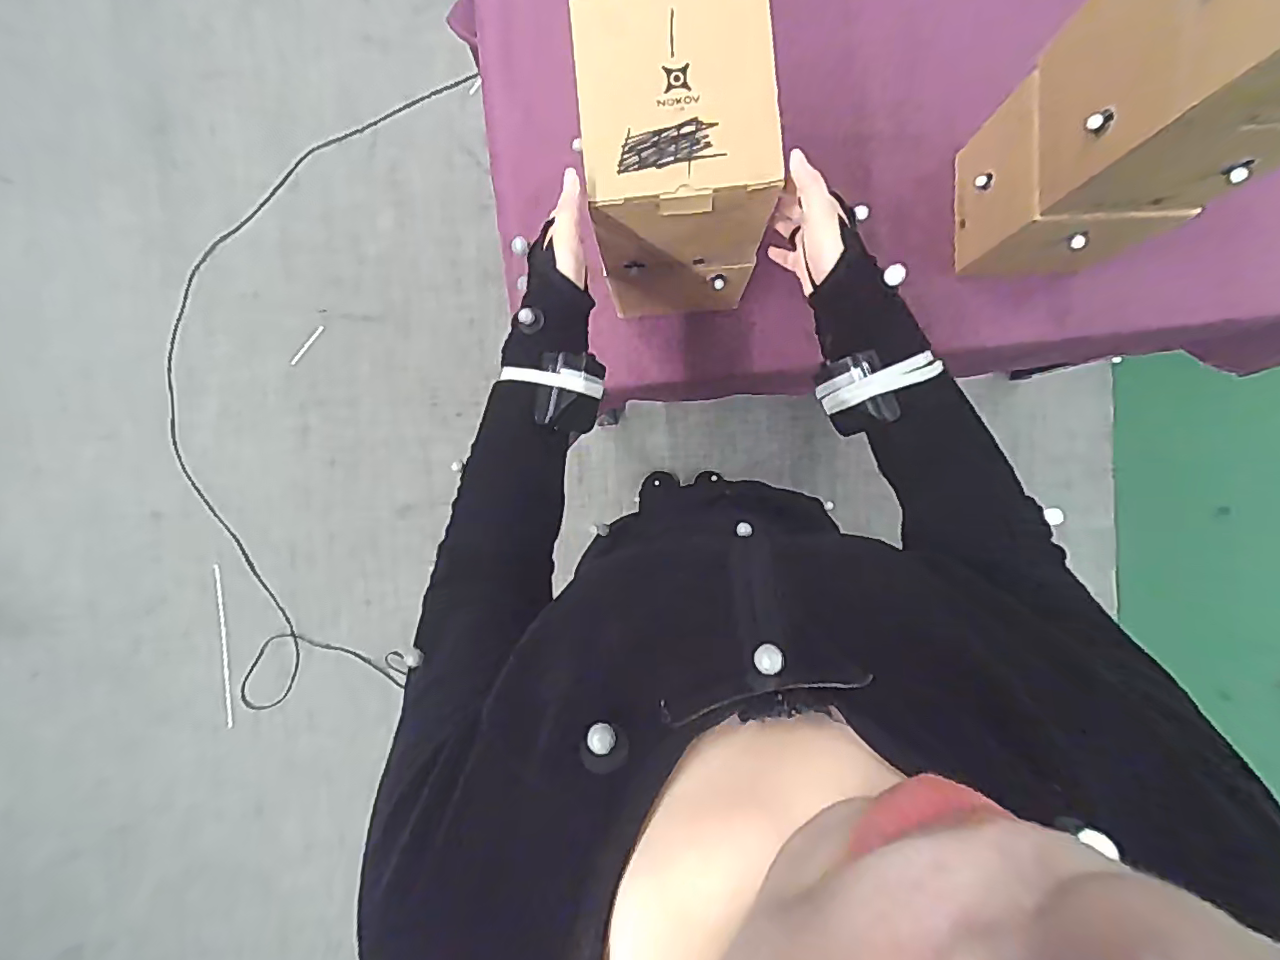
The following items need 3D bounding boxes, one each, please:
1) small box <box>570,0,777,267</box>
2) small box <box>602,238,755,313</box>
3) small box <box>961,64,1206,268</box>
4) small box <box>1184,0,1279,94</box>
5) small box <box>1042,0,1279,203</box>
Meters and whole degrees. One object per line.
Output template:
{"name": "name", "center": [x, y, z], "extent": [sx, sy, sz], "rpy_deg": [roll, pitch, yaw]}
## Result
{"name": "small box", "center": [0.033, -0.324, 0.529], "extent": [0.168, 0.176, 0.179], "rpy_deg": [-5, 89, 3]}
{"name": "small box", "center": [0.045, -0.323, 0.693], "extent": [0.179, 0.176, 0.168], "rpy_deg": [-4, 91, 3]}
{"name": "small box", "center": [0.519, -0.368, 0.657], "extent": [0.179, 0.176, 0.168], "rpy_deg": [0, 92, 4]}
{"name": "small box", "center": [0.493, -0.371, 0.331], "extent": [0.168, 0.176, 0.179], "rpy_deg": [-1, 92, 3]}
{"name": "small box", "center": [0.507, -0.374, 0.495], "extent": [0.168, 0.176, 0.179], "rpy_deg": [0, 90, 3]}
